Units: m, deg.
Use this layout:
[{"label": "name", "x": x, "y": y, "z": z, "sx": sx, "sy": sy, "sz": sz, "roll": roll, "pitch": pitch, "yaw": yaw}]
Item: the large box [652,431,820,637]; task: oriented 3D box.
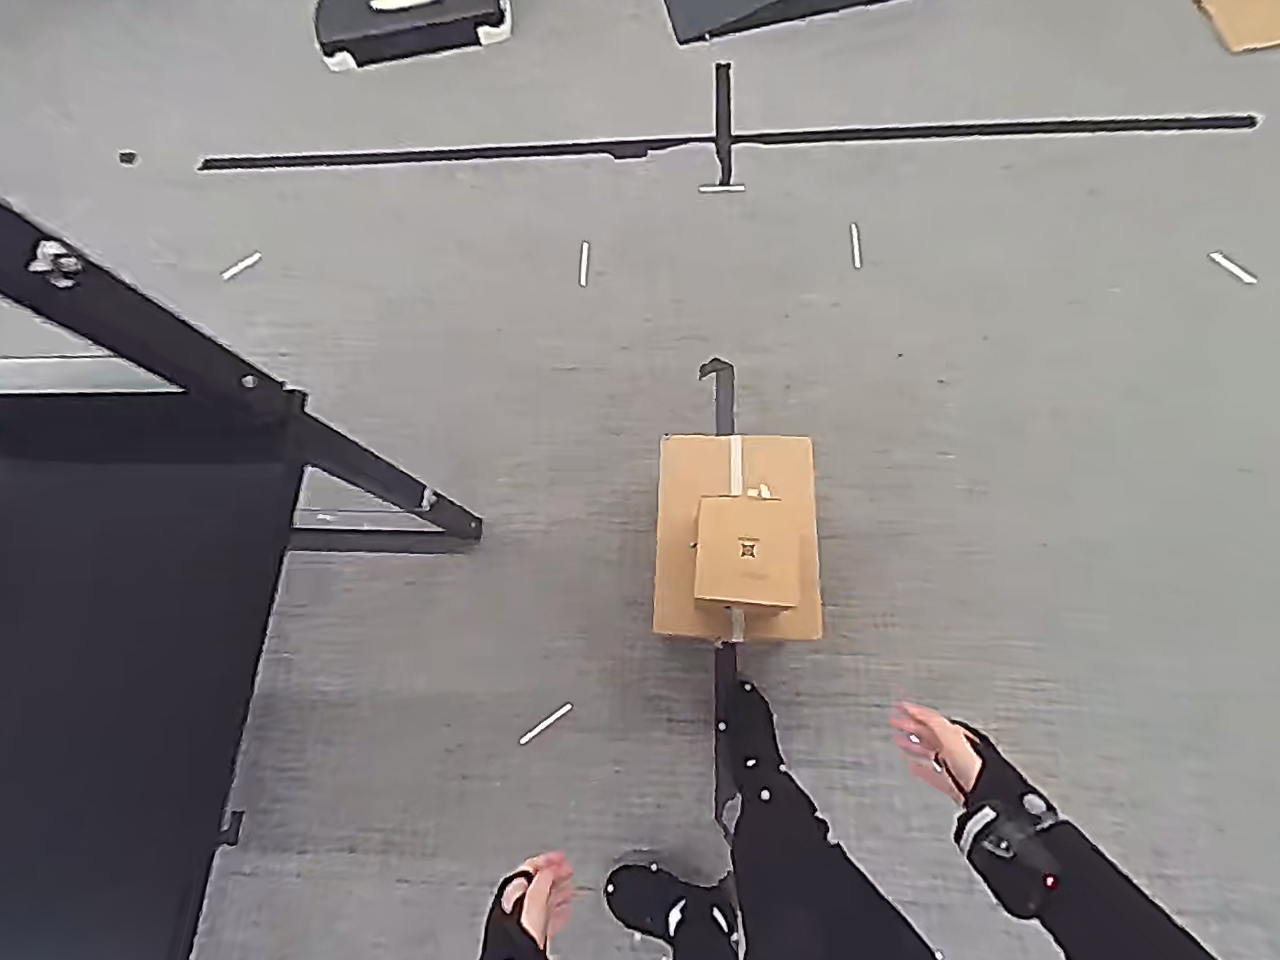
[{"label": "large box", "x": 0.191, "y": 0.135, "z": 1.198, "sx": 0.320, "sy": 0.320, "sz": 0.408, "roll": 1, "pitch": 73, "yaw": 3}]

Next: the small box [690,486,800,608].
[{"label": "small box", "x": 0.177, "y": 0.123, "z": 0.946, "sx": 0.168, "sy": 0.176, "sz": 0.179, "roll": 4, "pitch": 74, "yaw": 6}]
